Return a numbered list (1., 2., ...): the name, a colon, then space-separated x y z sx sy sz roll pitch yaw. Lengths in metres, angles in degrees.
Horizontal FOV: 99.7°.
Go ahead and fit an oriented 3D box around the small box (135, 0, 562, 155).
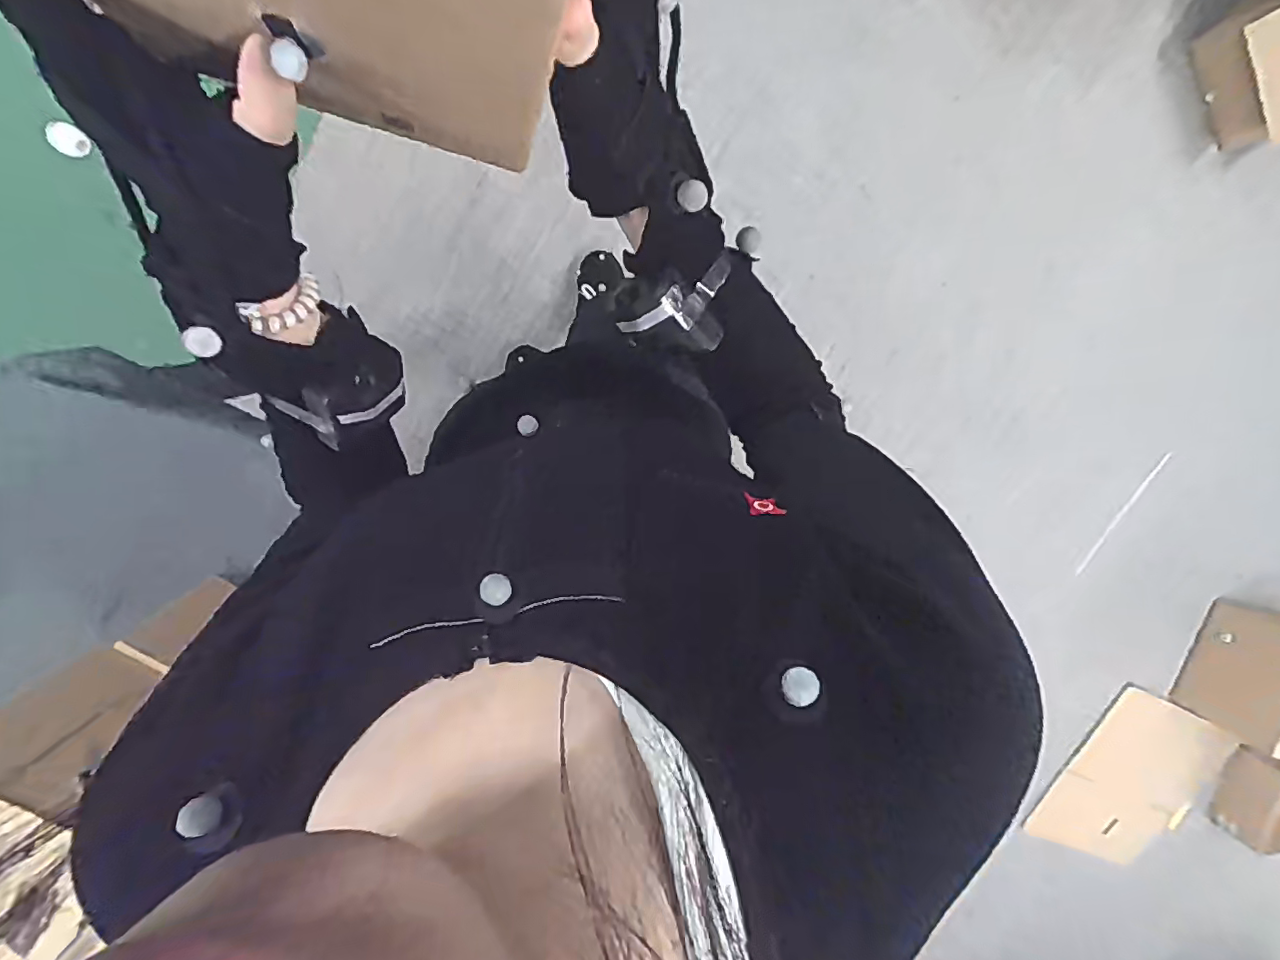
1. small box: -0.099 -0.243 0.180 0.168 0.176 0.179 8 101 -18
